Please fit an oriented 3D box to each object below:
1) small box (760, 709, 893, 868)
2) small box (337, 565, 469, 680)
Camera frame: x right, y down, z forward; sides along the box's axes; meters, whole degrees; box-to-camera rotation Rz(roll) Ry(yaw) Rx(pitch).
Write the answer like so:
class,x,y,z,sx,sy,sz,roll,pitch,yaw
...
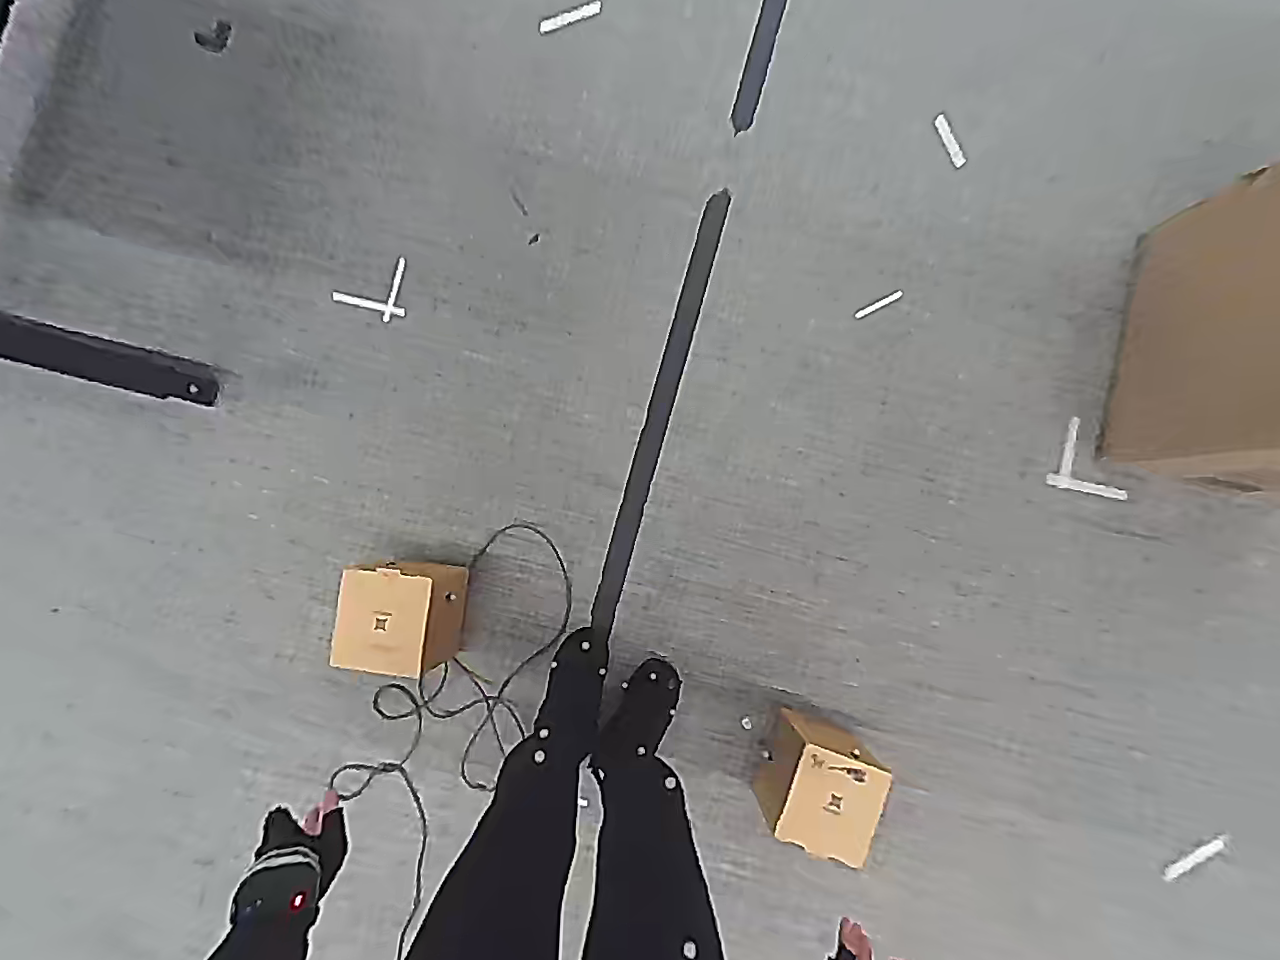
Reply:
class,x,y,z,sx,sy,sz,roll,pitch,yaw
small box,0.339,0.569,1.021,0.168,0.176,0.179,20,87,0
small box,-0.435,0.258,1.020,0.168,0.176,0.179,4,88,4
